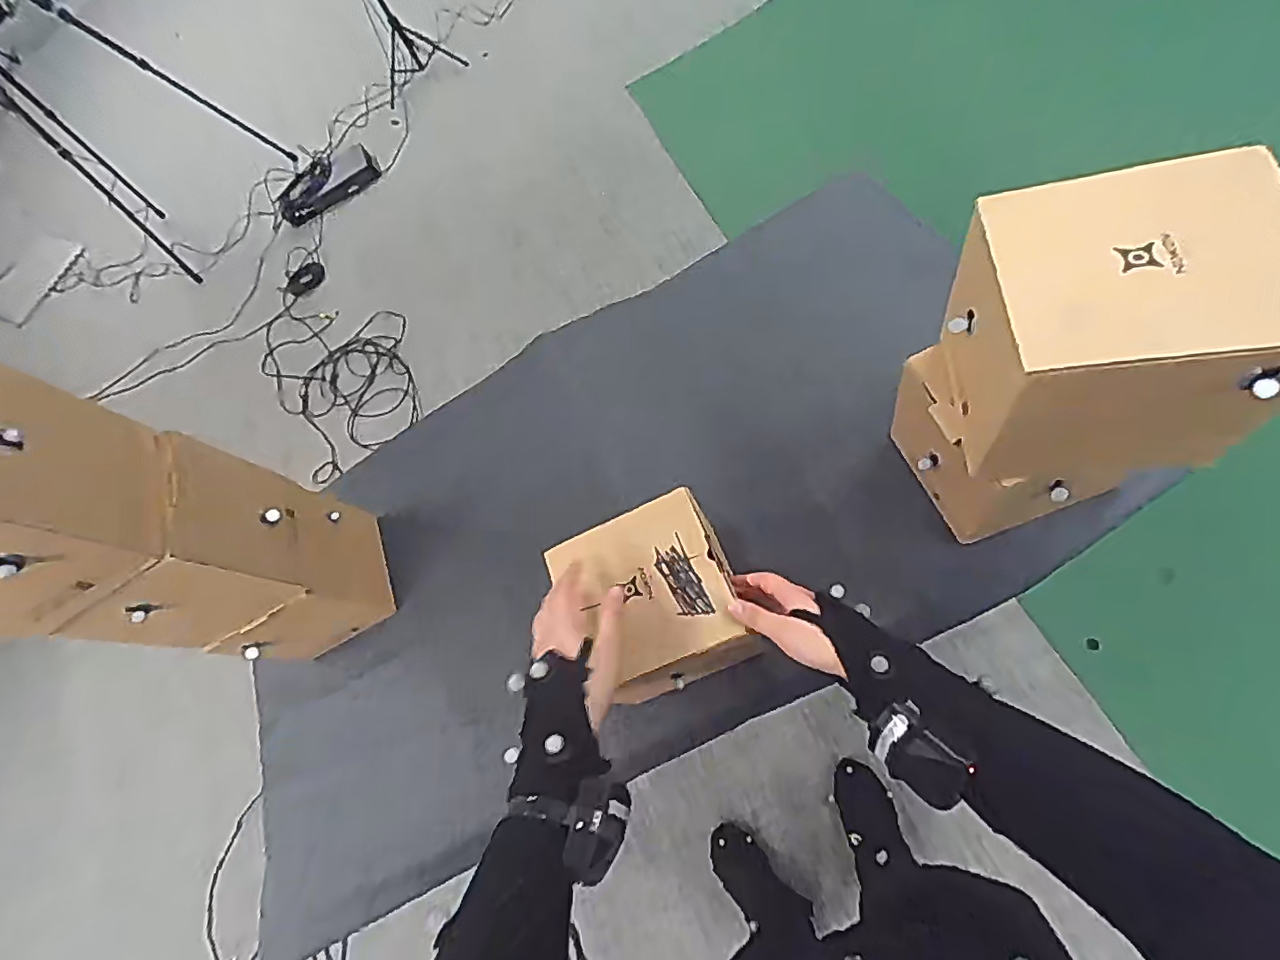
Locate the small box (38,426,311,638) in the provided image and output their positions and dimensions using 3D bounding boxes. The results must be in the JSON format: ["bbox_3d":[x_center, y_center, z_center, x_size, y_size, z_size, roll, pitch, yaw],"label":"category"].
[{"bbox_3d":[-0.532,0.073,0.637,0.179,0.176,0.168,-28,65,5],"label":"small box"}]

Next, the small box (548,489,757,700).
[{"bbox_3d":[0.024,0.138,0.618,0.179,0.176,0.168,-25,62,8],"label":"small box"}]

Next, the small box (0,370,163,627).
[{"bbox_3d":[-0.584,0.019,0.493,0.168,0.176,0.179,-31,63,2],"label":"small box"}]

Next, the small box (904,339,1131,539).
[{"bbox_3d":[0.400,-0.058,0.570,0.179,0.176,0.168,-23,61,9],"label":"small box"}]

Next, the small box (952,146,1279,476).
[{"bbox_3d":[0.359,-0.110,0.420,0.179,0.176,0.168,-3,65,17],"label":"small box"}]
